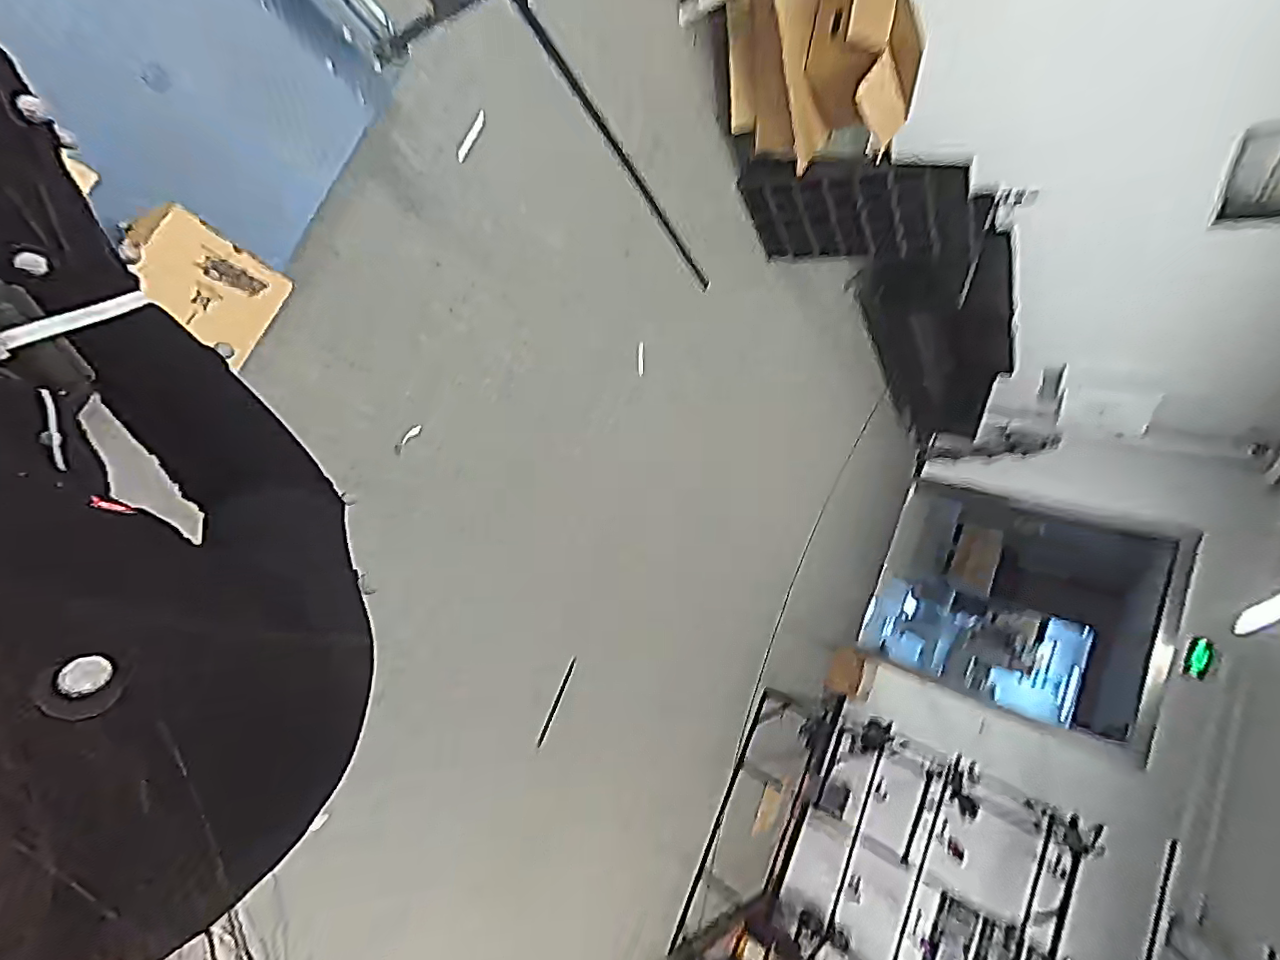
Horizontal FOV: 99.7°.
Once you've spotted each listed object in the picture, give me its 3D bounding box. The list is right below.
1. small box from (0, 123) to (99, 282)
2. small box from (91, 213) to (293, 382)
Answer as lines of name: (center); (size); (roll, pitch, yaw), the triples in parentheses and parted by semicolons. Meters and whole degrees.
small box: (-0.921, -0.399, 0.759); (0.168, 0.176, 0.179); (35, 74, -52)
small box: (-0.686, -0.275, 0.828); (0.168, 0.176, 0.179); (39, 72, -50)
